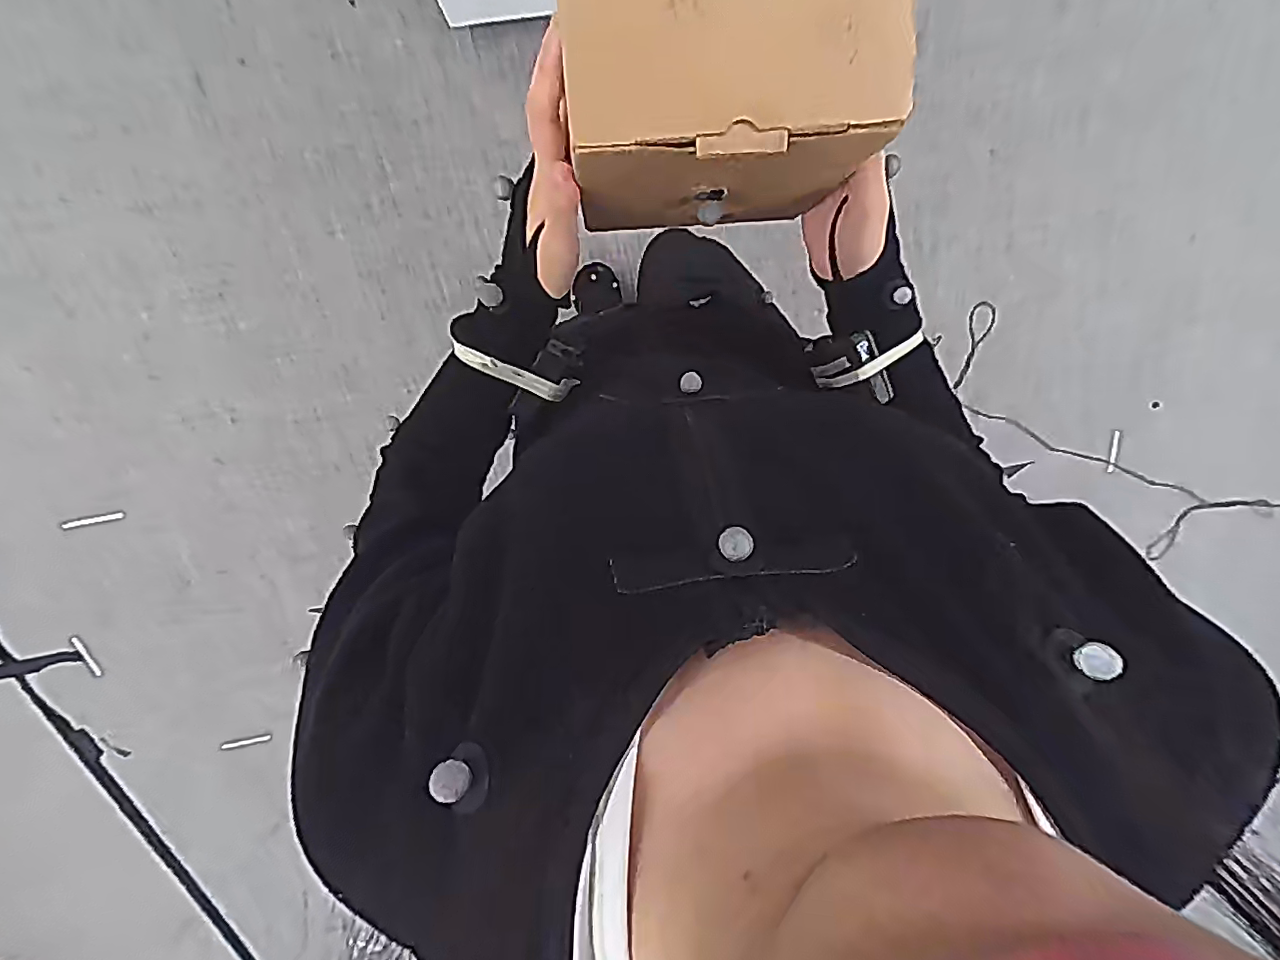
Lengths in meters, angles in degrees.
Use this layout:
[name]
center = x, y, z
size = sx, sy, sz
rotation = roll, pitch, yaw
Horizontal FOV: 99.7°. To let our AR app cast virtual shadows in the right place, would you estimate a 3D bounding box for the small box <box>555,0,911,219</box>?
[small box]
center = 0.038, -0.264, 0.317
size = 0.168, 0.176, 0.179
rotation = -5, 104, -2
